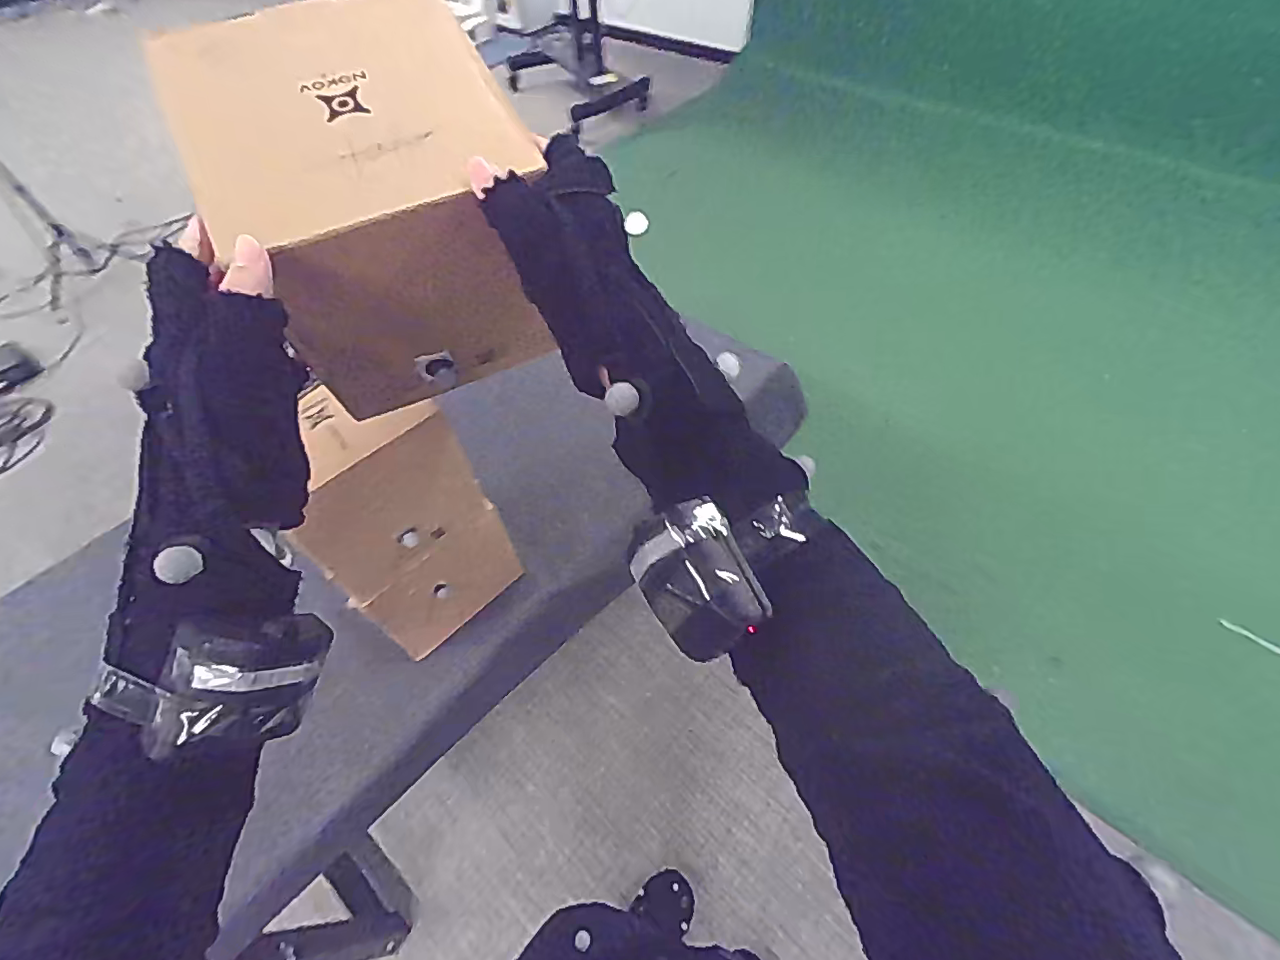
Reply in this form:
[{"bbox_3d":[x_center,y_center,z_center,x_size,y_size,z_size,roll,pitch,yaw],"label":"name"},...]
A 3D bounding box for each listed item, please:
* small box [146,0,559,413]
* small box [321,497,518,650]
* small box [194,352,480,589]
[{"bbox_3d":[-0.164,-0.175,0.361,0.168,0.176,0.179,-24,74,-12],"label":"small box"},{"bbox_3d":[-0.286,0.086,0.697,0.168,0.176,0.179,37,65,27],"label":"small box"},{"bbox_3d":[-0.302,-0.017,0.569,0.179,0.176,0.168,33,62,27],"label":"small box"}]
